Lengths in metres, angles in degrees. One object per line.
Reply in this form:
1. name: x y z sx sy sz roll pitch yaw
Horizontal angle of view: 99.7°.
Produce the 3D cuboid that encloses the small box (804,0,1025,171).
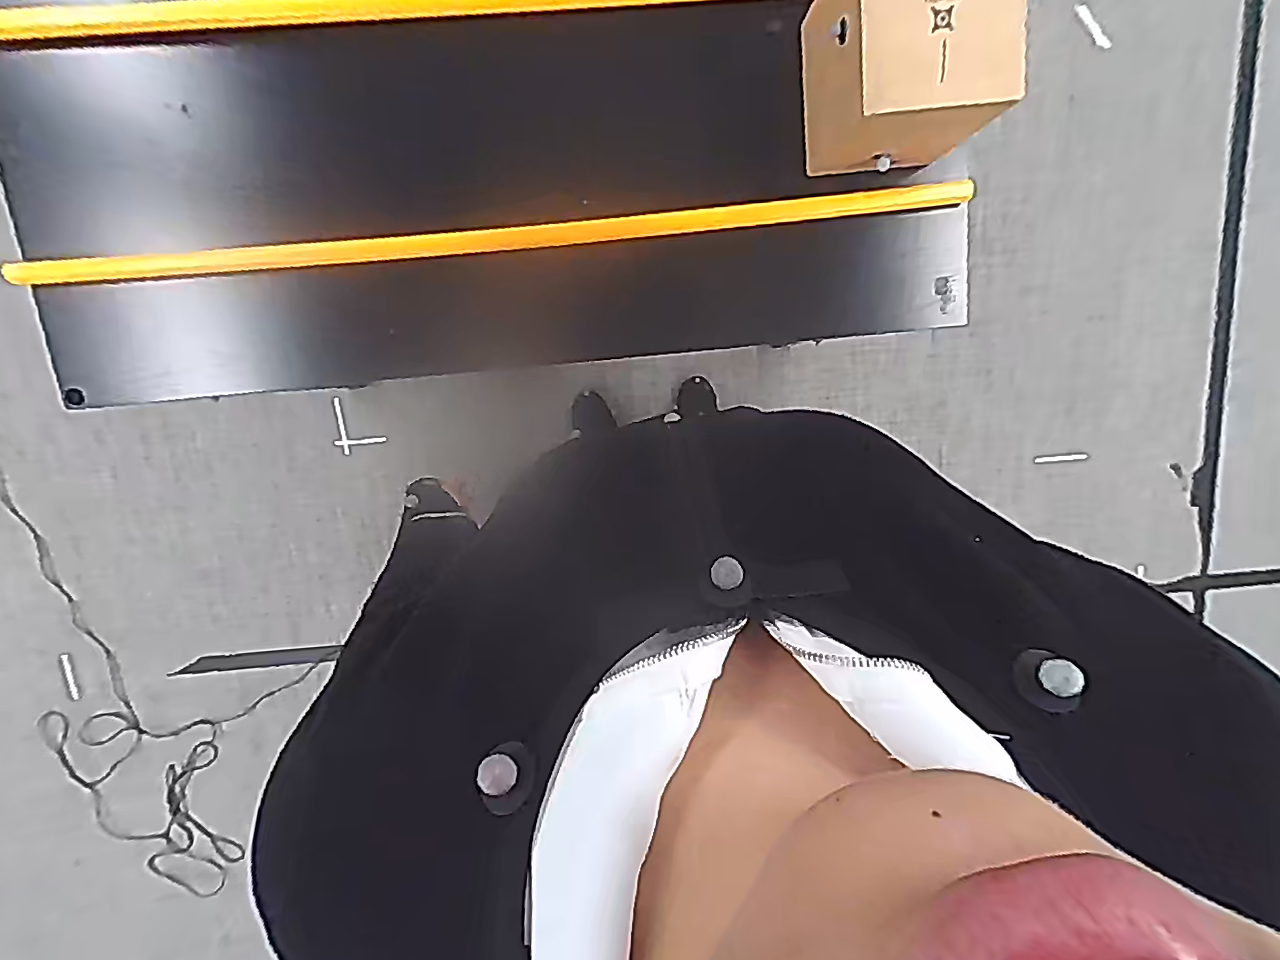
1. small box: 0.293 -0.479 0.608 0.168 0.176 0.179 -6 101 -1
